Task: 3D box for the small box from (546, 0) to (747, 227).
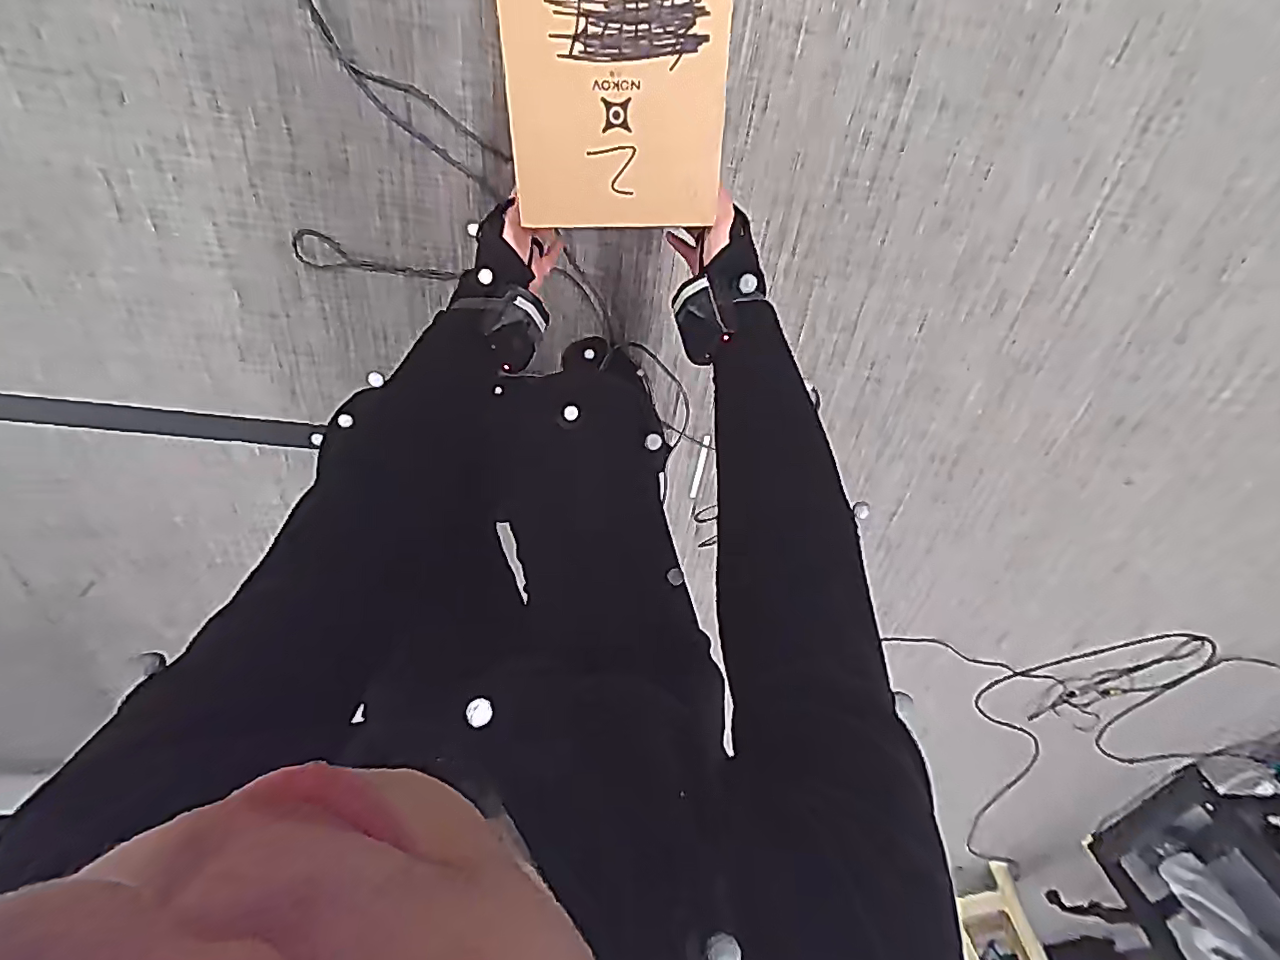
[{"bbox_3d":[0.002,-0.384,0.585,0.168,0.176,0.179,-8,108,-22],"label":"small box"}]
